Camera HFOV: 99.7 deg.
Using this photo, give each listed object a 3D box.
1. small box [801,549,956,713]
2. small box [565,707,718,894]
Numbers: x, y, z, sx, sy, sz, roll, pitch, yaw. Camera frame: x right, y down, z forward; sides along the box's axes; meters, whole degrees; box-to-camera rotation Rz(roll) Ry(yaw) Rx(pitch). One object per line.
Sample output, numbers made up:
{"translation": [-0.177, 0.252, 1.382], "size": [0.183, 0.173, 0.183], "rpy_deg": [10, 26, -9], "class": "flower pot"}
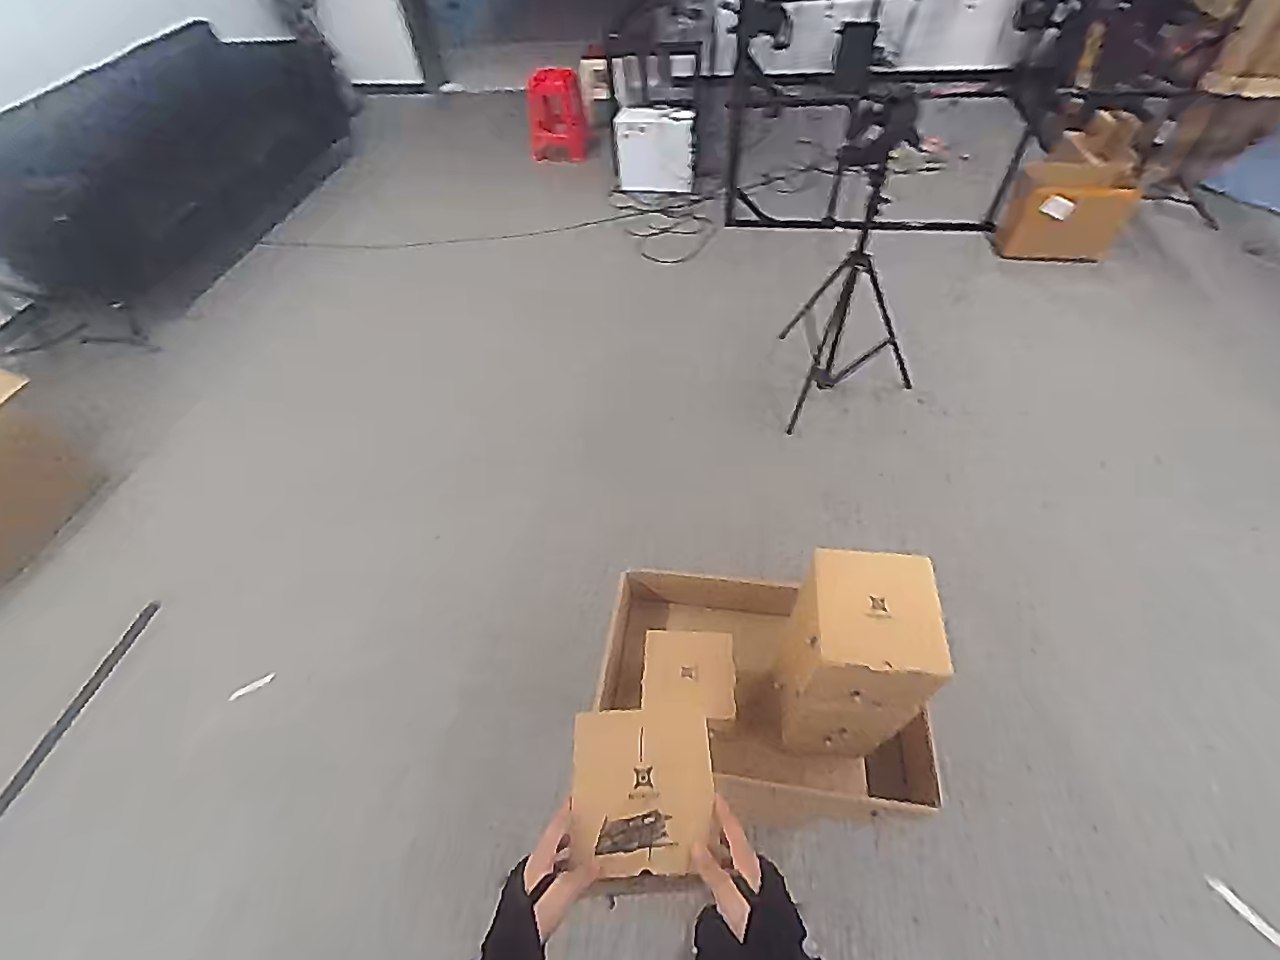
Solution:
{"translation": [0.336, 0.225, 0.804], "size": [0.168, 0.176, 0.179], "rpy_deg": [4, 53, 9], "class": "small box"}
{"translation": [0.003, 0.406, 0.680], "size": [0.168, 0.176, 0.179], "rpy_deg": [-3, 47, 0], "class": "small box"}
